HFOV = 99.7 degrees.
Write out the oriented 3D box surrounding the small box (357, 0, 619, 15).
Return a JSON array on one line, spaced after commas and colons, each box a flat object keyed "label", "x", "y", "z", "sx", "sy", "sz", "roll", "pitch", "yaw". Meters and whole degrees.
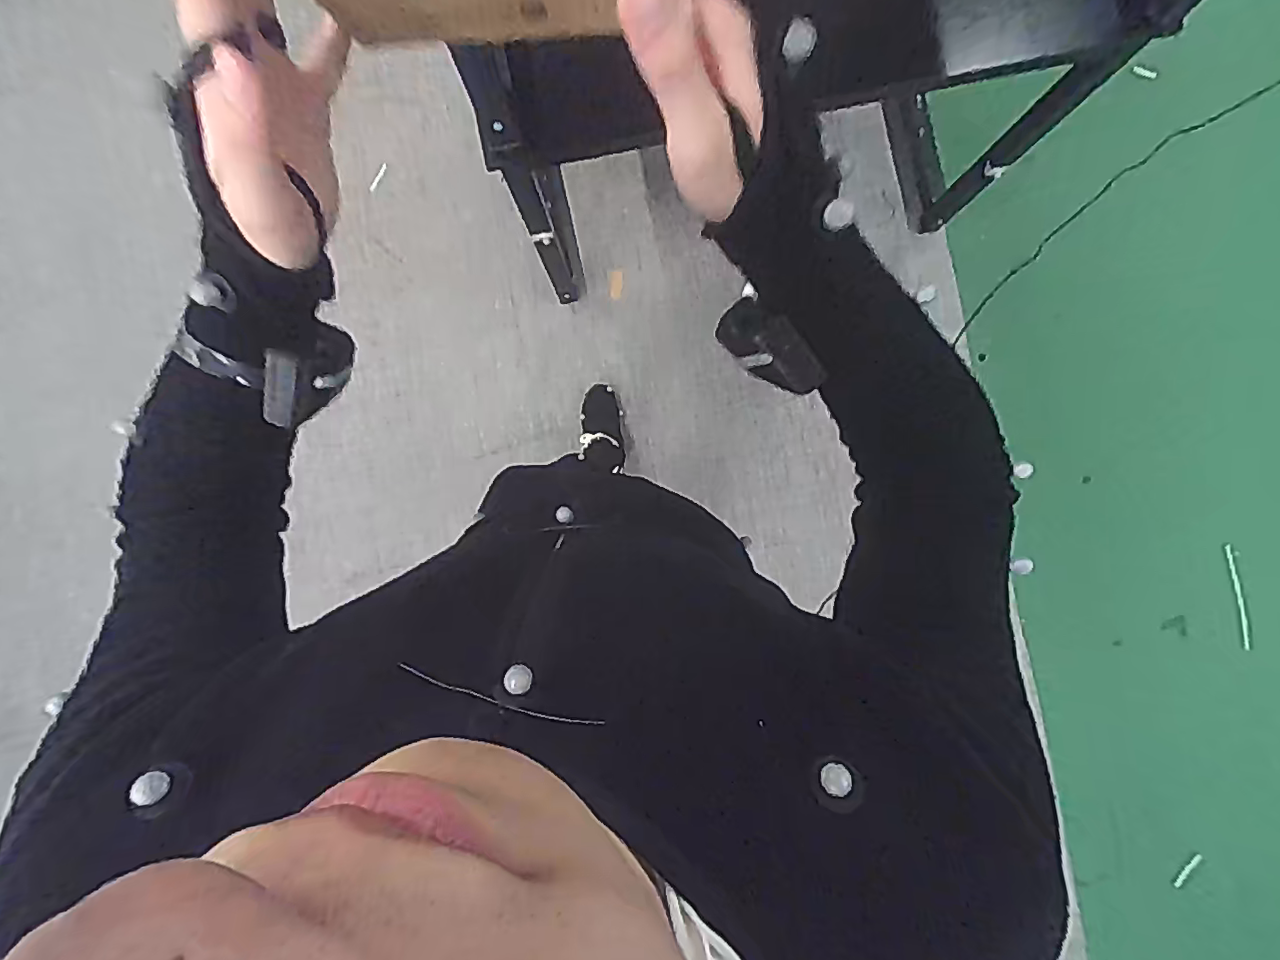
[{"label": "small box", "x": -0.084, "y": -0.312, "z": 0.198, "sx": 0.168, "sy": 0.176, "sz": 0.179, "roll": -4, "pitch": 107, "yaw": 1}]
